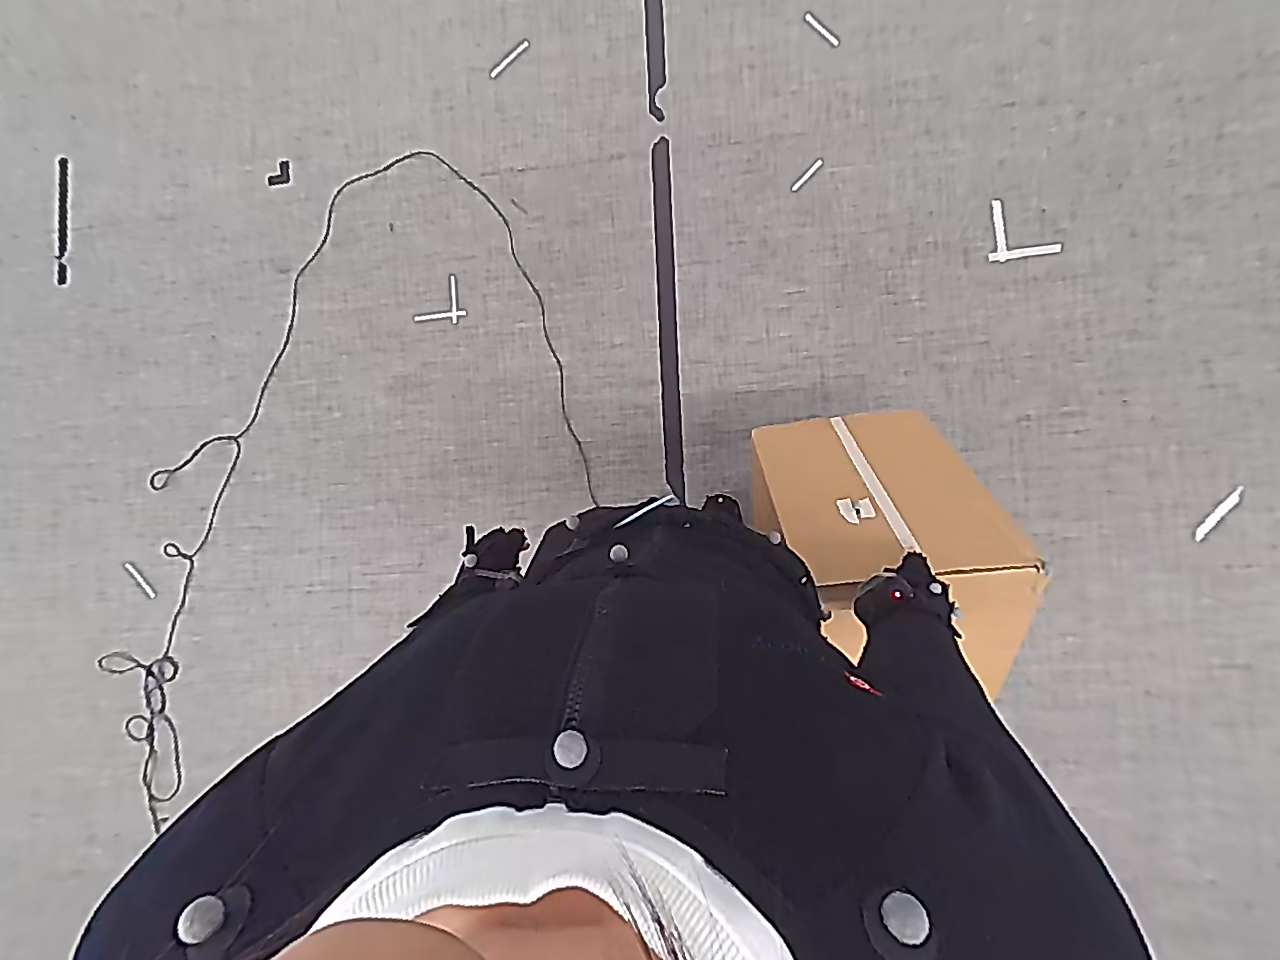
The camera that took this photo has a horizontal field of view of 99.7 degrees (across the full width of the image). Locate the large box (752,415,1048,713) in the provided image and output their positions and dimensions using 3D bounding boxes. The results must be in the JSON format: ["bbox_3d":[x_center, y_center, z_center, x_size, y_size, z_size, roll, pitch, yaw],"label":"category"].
[{"bbox_3d":[0.384,0.131,0.942,0.320,0.408,0.320,-7,127,5],"label":"large box"}]
